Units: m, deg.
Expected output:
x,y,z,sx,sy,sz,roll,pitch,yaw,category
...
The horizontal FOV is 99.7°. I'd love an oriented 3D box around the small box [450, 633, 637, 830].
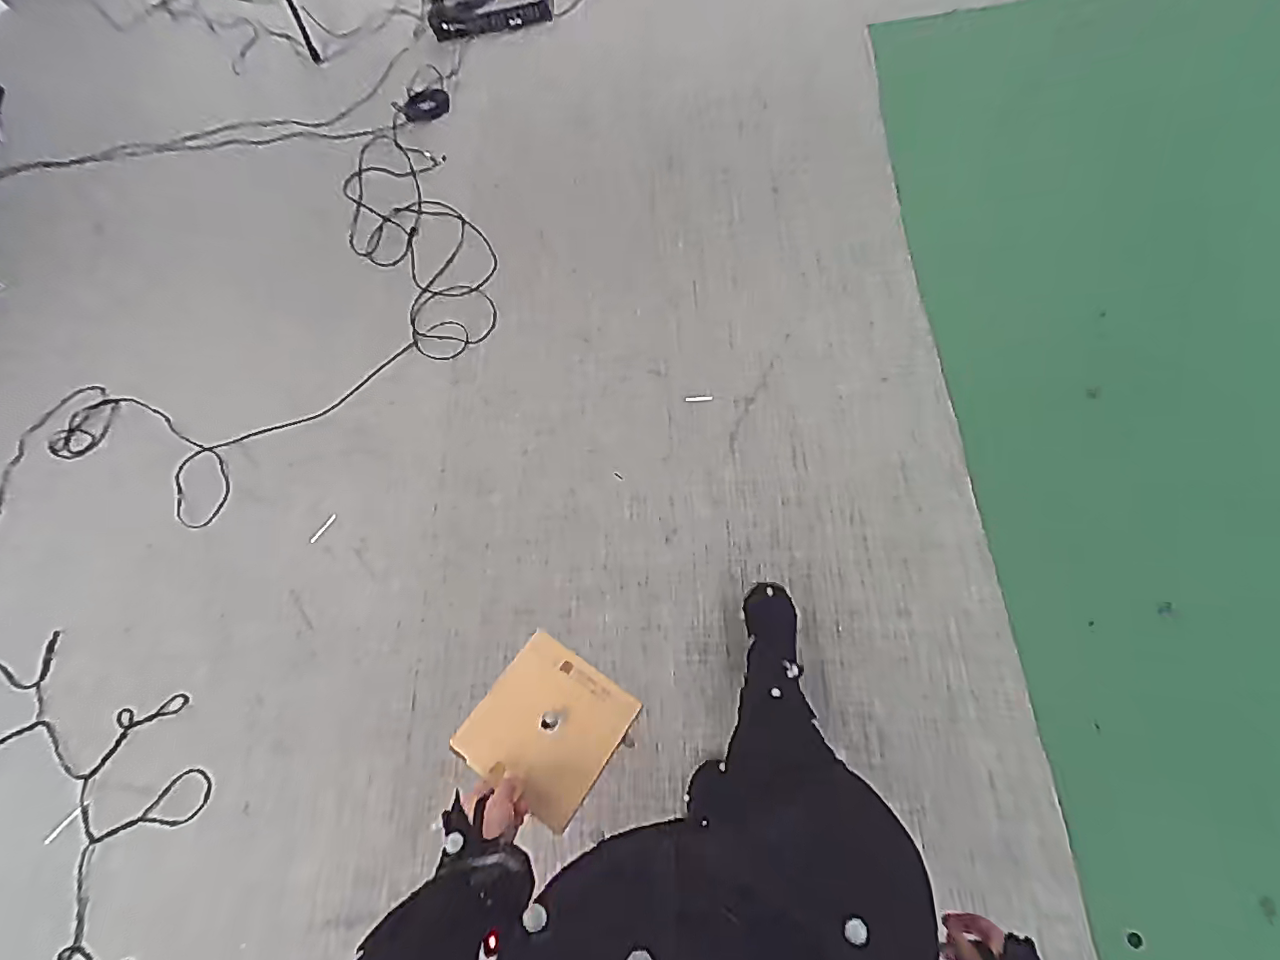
x,y,z,sx,sy,sz,roll,pitch,yaw,category
-0.117,0.329,0.721,0.168,0.179,0.176,31,62,13,small box
